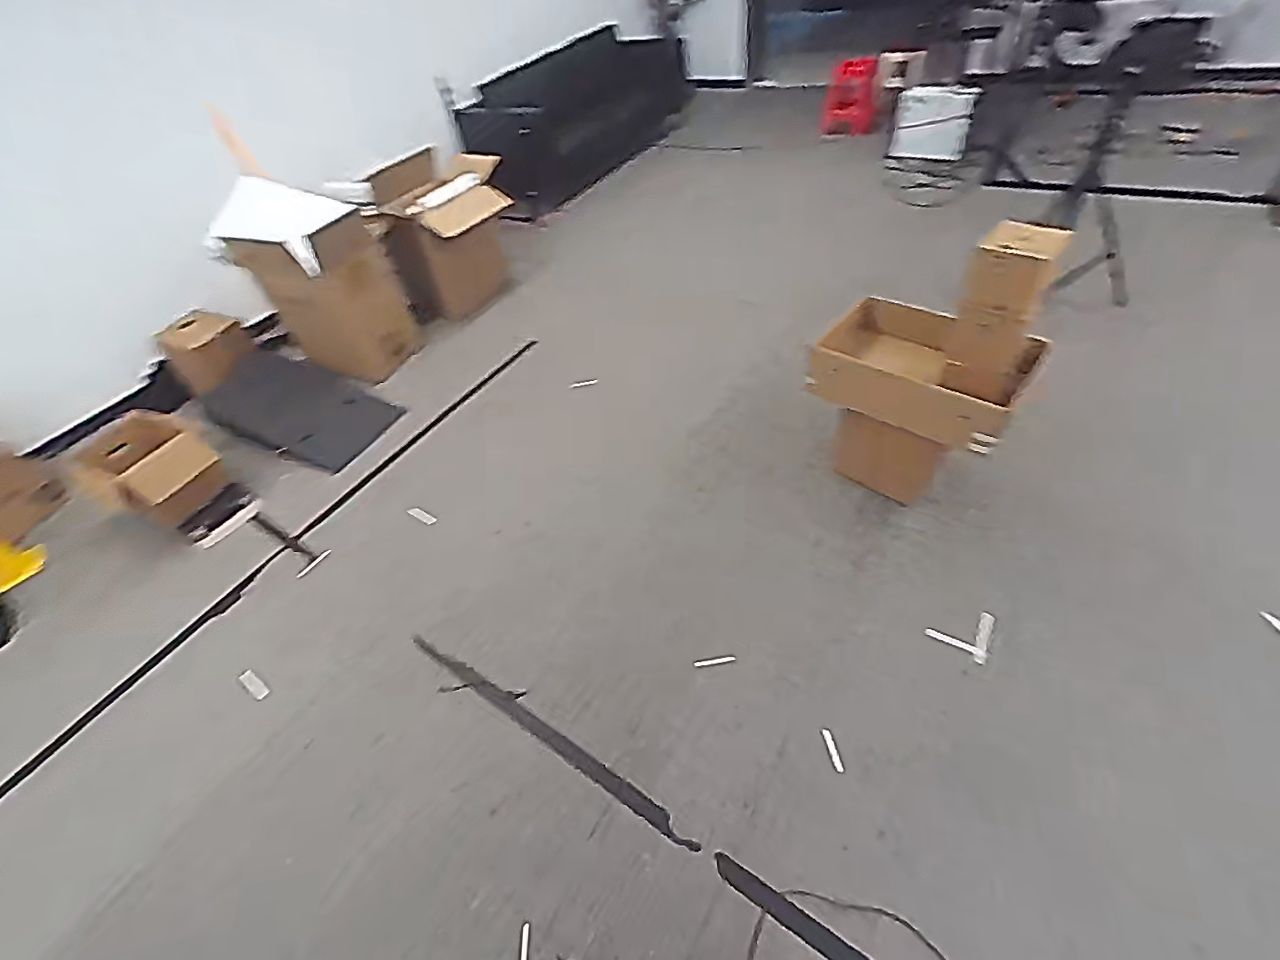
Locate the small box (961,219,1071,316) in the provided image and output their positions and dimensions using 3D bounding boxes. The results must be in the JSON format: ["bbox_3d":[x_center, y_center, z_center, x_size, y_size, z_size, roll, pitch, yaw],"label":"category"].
[{"bbox_3d":[0.972,-0.556,1.413,0.179,0.176,0.168,-39,50,-25],"label":"small box"}]

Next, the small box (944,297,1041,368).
[{"bbox_3d":[0.992,-0.441,1.529,0.179,0.176,0.168,26,57,31],"label":"small box"}]
